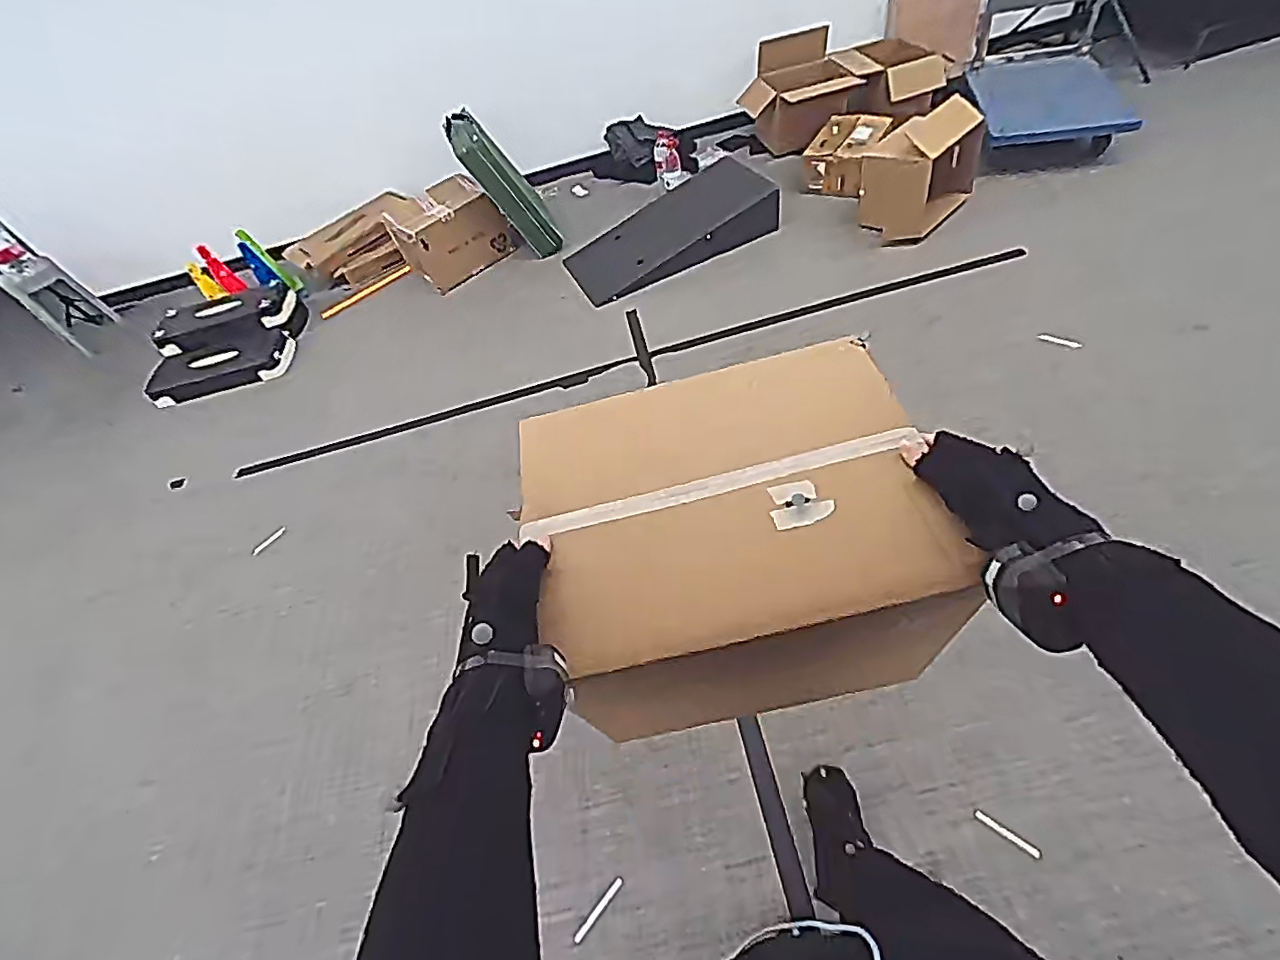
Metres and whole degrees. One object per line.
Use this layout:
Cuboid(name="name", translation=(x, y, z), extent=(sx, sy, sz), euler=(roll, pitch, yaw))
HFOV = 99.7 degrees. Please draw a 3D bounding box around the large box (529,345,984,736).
Cuboid(name="large box", translation=(0.107, 0.091, 0.681), extent=(0.408, 0.320, 0.320), euler=(-14, 55, 2))
